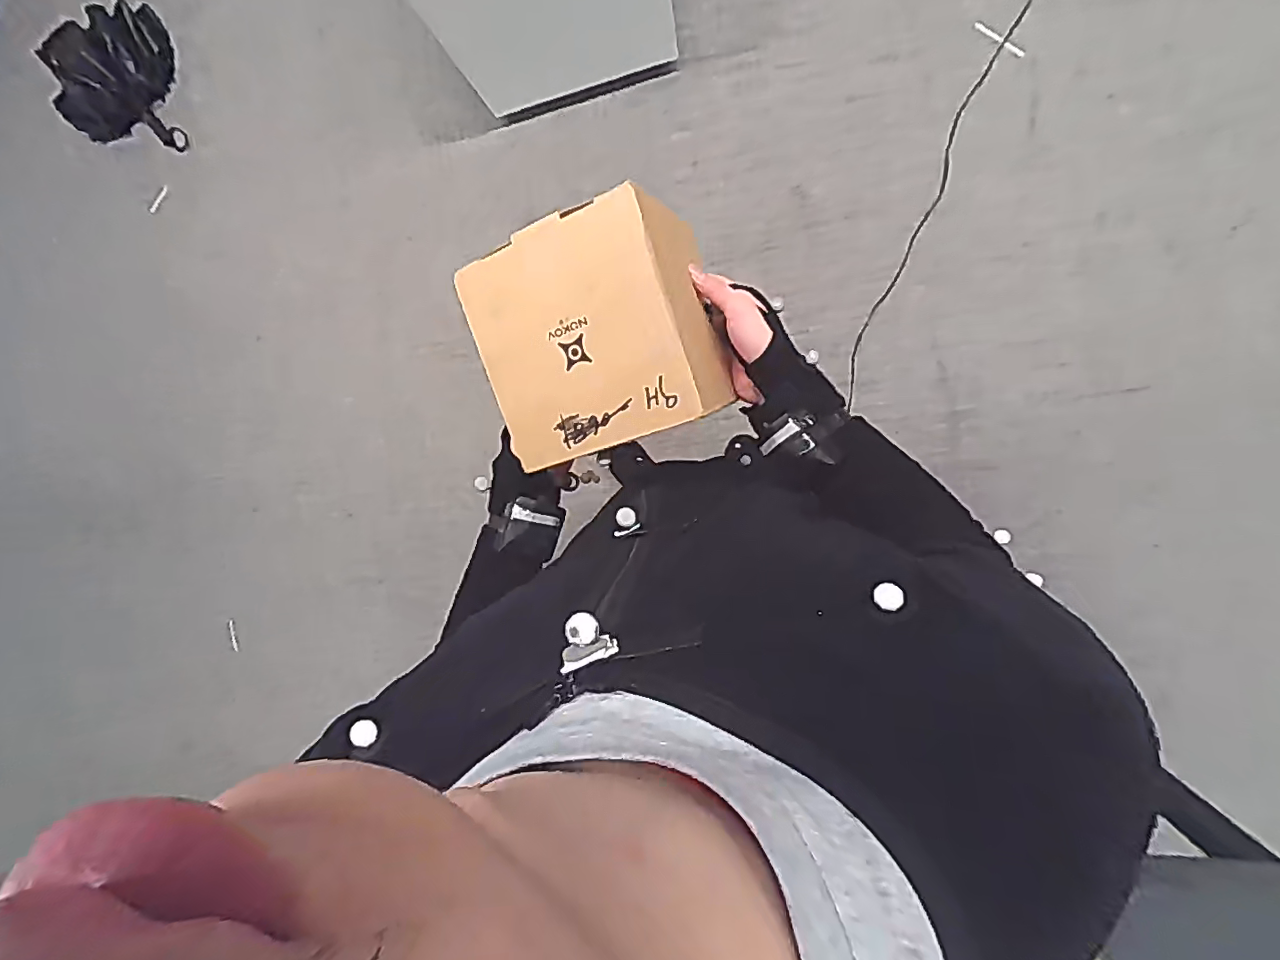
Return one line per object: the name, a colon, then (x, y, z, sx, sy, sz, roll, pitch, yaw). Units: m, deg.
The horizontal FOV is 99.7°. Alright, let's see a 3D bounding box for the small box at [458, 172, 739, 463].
small box: (-0.022, -0.131, 0.486, 0.168, 0.176, 0.179, -16, 98, 23)
